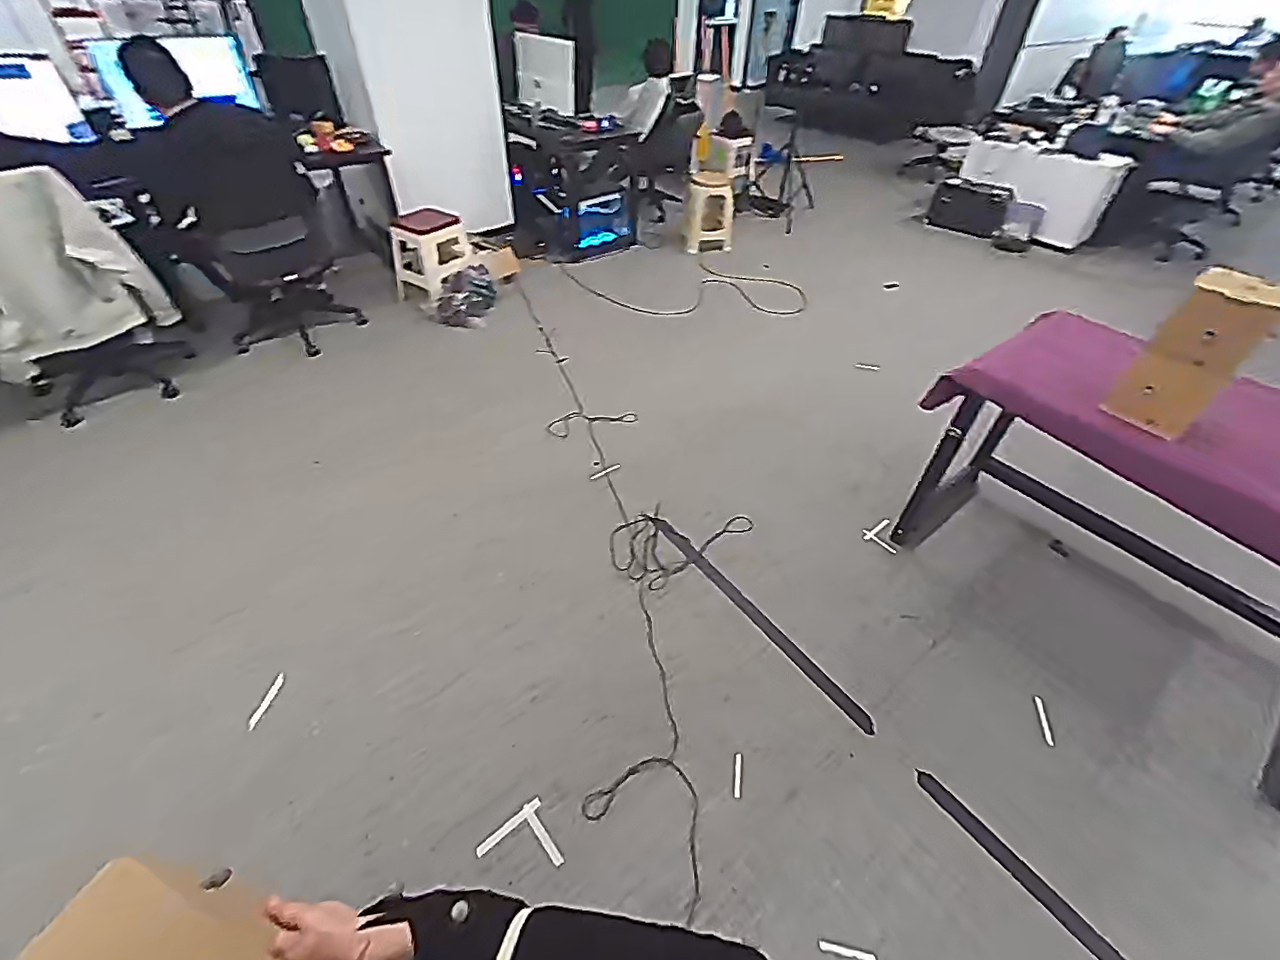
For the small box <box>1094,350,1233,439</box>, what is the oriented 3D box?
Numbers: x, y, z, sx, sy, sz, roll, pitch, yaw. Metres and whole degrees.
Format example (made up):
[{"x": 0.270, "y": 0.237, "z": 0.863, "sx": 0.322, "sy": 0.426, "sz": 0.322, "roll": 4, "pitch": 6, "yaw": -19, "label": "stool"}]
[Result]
[{"x": 1.278, "y": -0.226, "z": 1.334, "sx": 0.179, "sy": 0.176, "sz": 0.168, "roll": -26, "pitch": 50, "yaw": -28, "label": "small box"}]

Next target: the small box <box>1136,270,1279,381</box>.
[{"x": 1.287, "y": -0.349, "z": 1.226, "sx": 0.179, "sy": 0.176, "sz": 0.168, "roll": -28, "pitch": 51, "yaw": -29, "label": "small box"}]
